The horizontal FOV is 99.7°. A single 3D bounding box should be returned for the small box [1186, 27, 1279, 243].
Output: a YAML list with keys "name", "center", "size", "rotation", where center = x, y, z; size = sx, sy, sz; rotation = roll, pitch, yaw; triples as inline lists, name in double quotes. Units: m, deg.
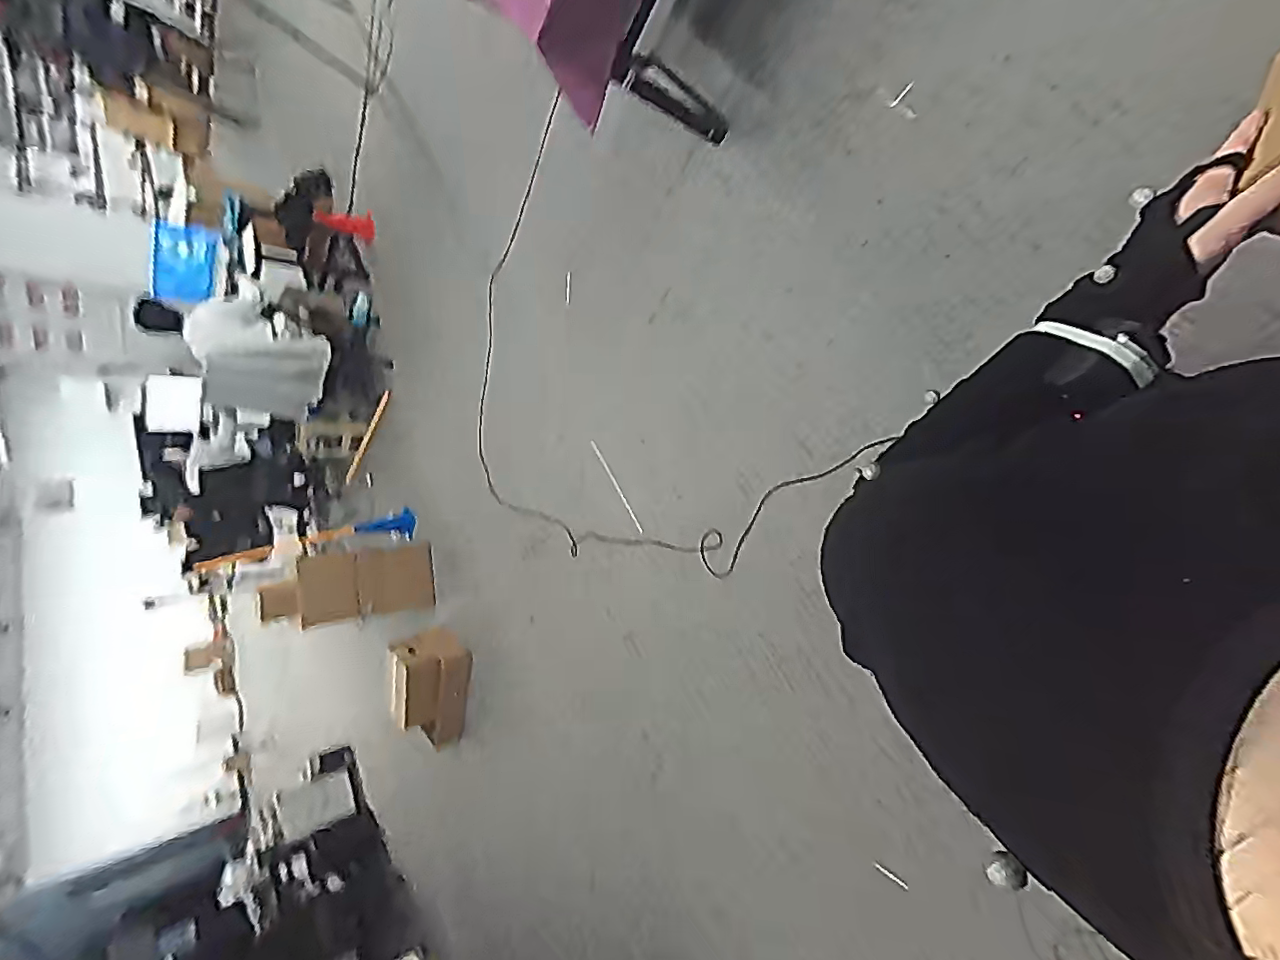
- name: "small box"
  center: [0.515, -0.254, 0.324]
  size: [0.179, 0.168, 0.176]
  rotation: [30, 78, 15]
